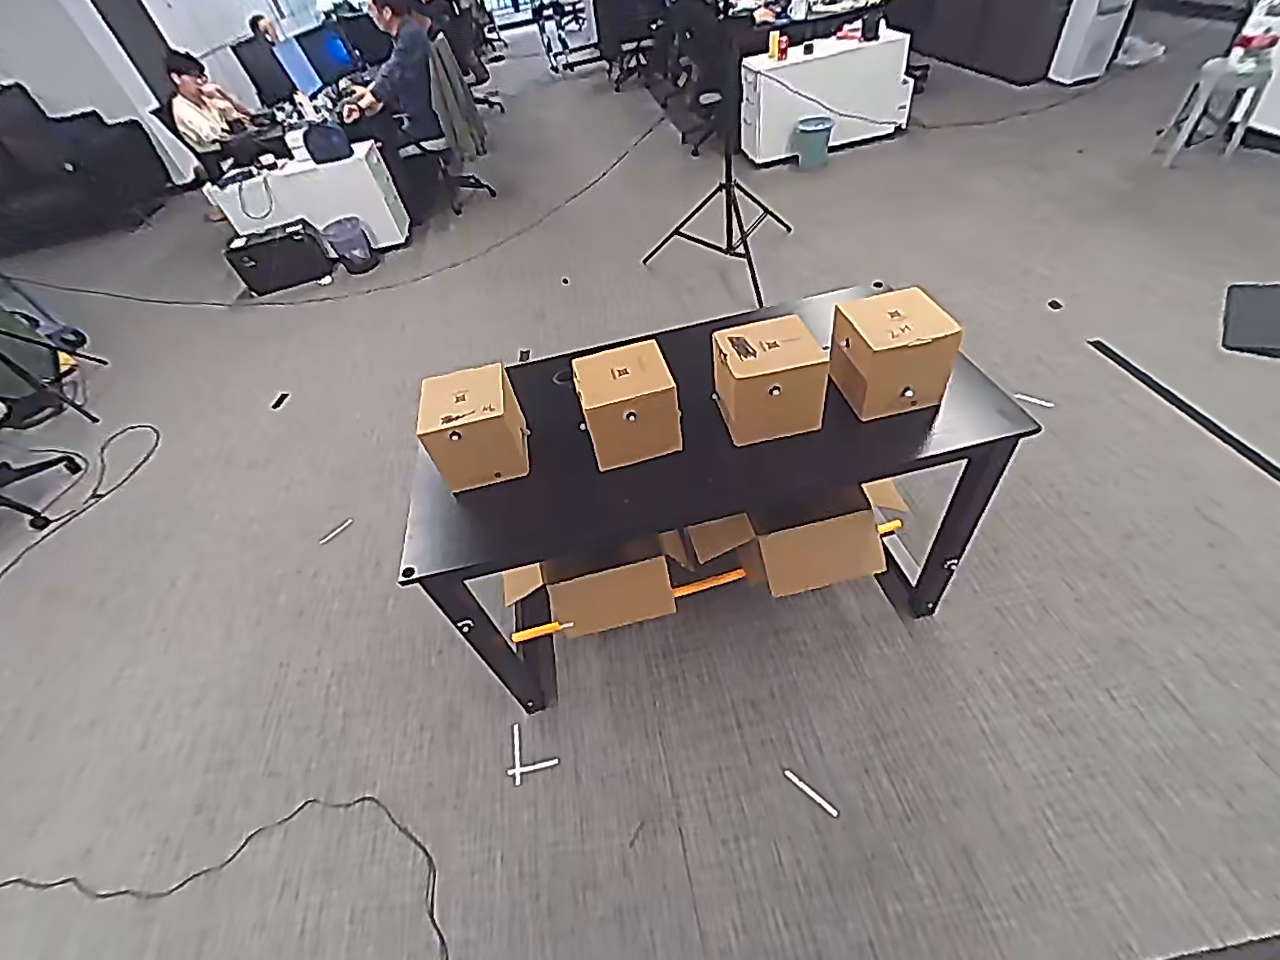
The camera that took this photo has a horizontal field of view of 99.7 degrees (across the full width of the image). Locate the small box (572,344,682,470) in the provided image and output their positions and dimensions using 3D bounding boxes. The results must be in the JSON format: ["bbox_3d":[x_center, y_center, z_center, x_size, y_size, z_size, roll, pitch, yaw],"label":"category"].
[{"bbox_3d":[-0.025,-0.142,1.085,0.179,0.176,0.168,-15,48,-3],"label":"small box"}]

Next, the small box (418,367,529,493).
[{"bbox_3d":[-0.332,-0.101,1.105,0.168,0.176,0.179,-14,46,-2],"label":"small box"}]

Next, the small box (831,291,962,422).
[{"bbox_3d":[0.491,-0.242,1.068,0.168,0.176,0.179,-13,46,1],"label":"small box"}]

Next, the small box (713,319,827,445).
[{"bbox_3d":[0.251,-0.189,1.069,0.179,0.176,0.168,-11,46,1],"label":"small box"}]
